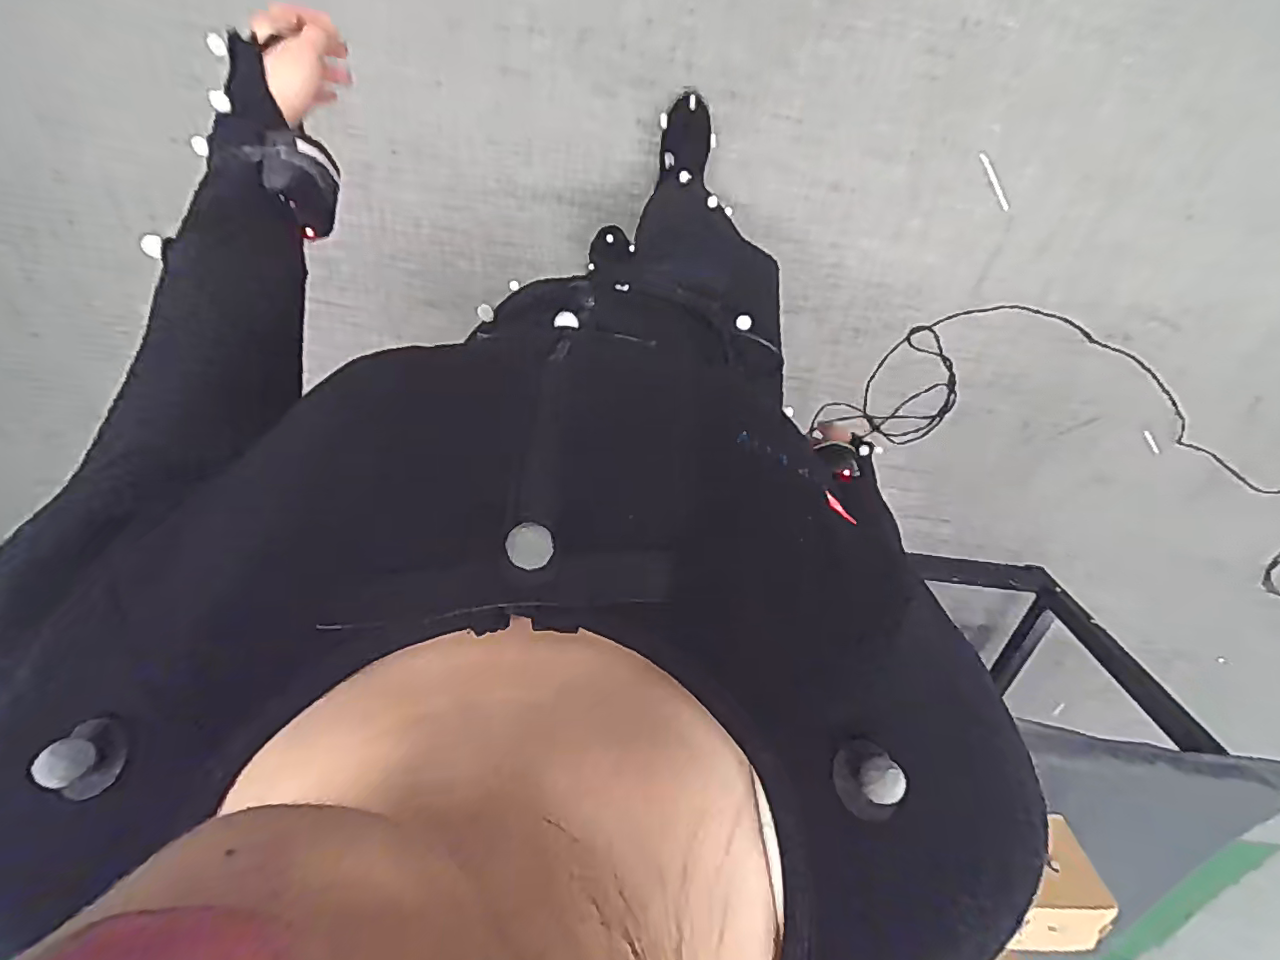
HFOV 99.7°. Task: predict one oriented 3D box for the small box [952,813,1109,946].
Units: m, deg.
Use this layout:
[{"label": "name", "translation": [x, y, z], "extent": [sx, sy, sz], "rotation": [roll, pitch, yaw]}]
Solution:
[{"label": "small box", "translation": [0.772, 0.800, 1.091], "extent": [0.179, 0.176, 0.168], "rotation": [-3, 118, 4]}]
